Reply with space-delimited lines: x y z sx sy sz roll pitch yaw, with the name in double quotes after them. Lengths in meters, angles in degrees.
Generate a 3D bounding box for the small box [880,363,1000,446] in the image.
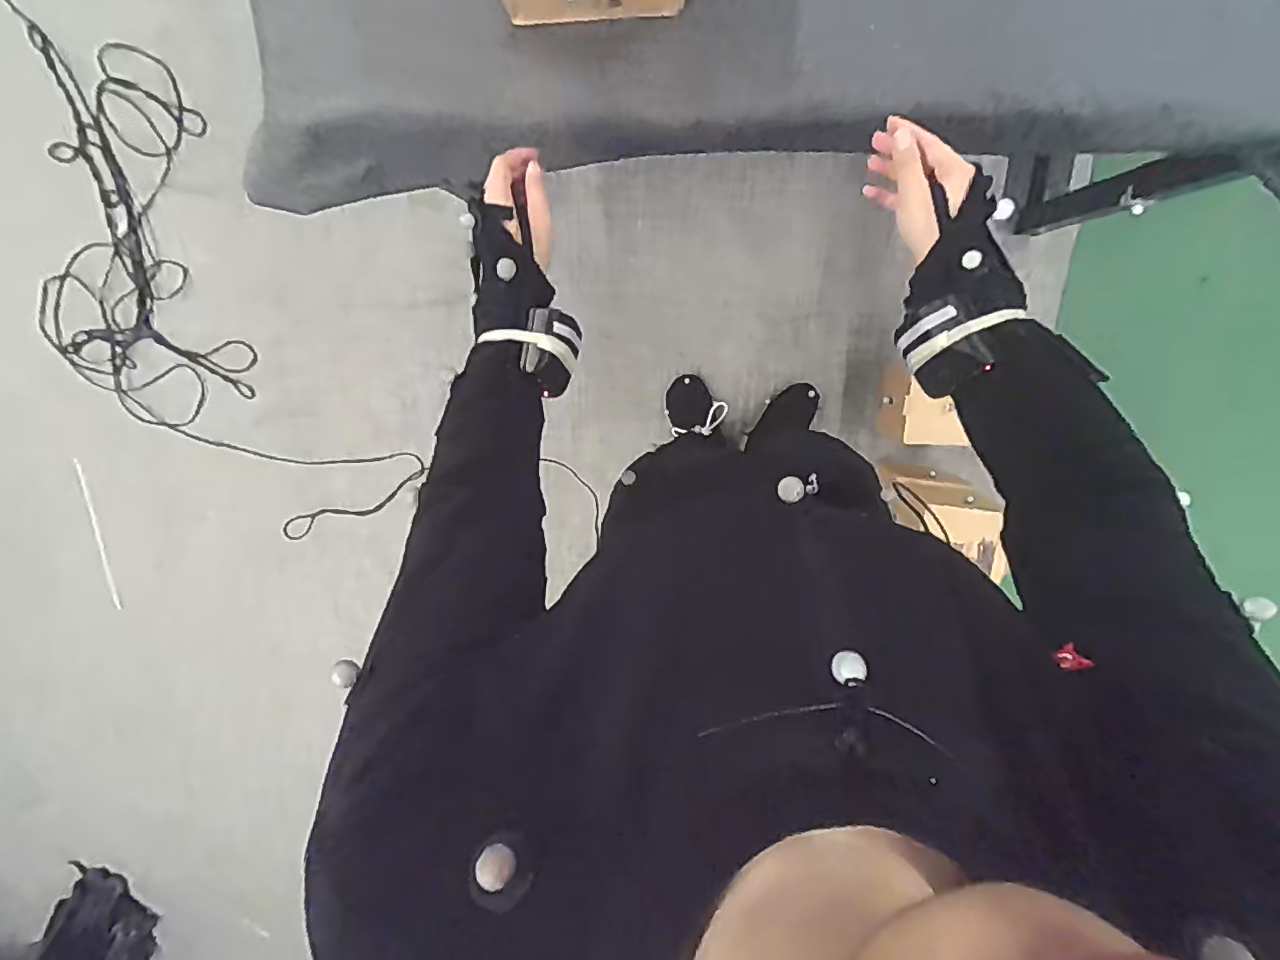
0.653 -0.172 1.204 0.179 0.176 0.168 2 104 5 "small box"

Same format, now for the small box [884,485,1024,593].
0.632 0.113 1.112 0.179 0.176 0.168 7 104 4 "small box"

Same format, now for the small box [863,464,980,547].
0.649 0.064 1.268 0.179 0.176 0.168 7 105 5 "small box"

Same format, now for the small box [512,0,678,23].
-0.050 -0.506 0.418 0.168 0.176 0.179 -1 105 5 "small box"
